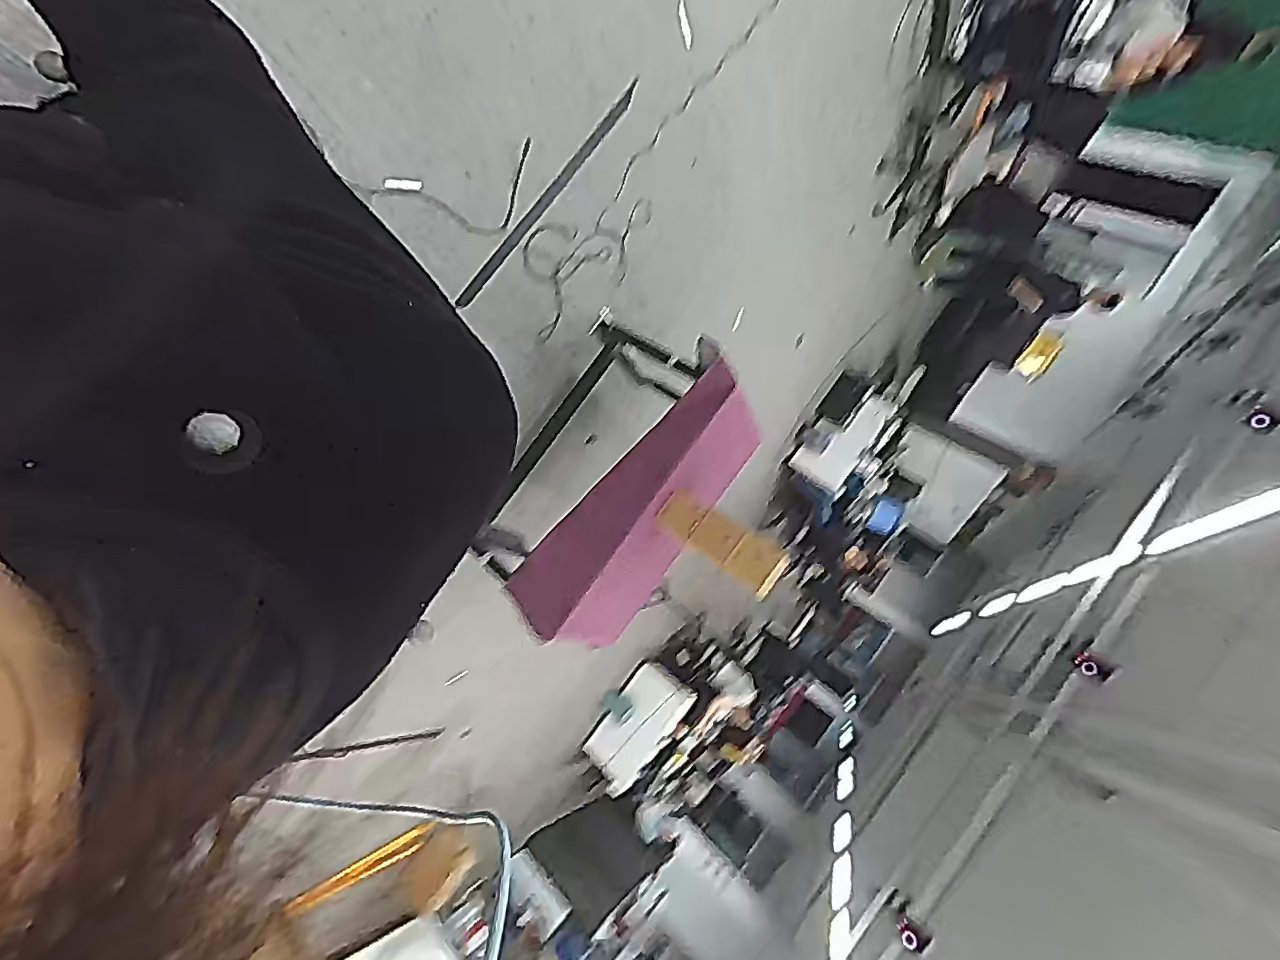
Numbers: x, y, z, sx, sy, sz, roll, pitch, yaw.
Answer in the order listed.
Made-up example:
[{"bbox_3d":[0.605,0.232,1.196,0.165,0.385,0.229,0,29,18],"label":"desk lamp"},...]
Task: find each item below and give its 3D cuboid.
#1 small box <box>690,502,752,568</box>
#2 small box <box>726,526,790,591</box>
[{"bbox_3d":[0.320,0.210,2.101,0.179,0.176,0.168,-53,153,-4],"label":"small box"},{"bbox_3d":[0.443,0.294,2.034,0.168,0.176,0.179,-54,154,-4],"label":"small box"}]
